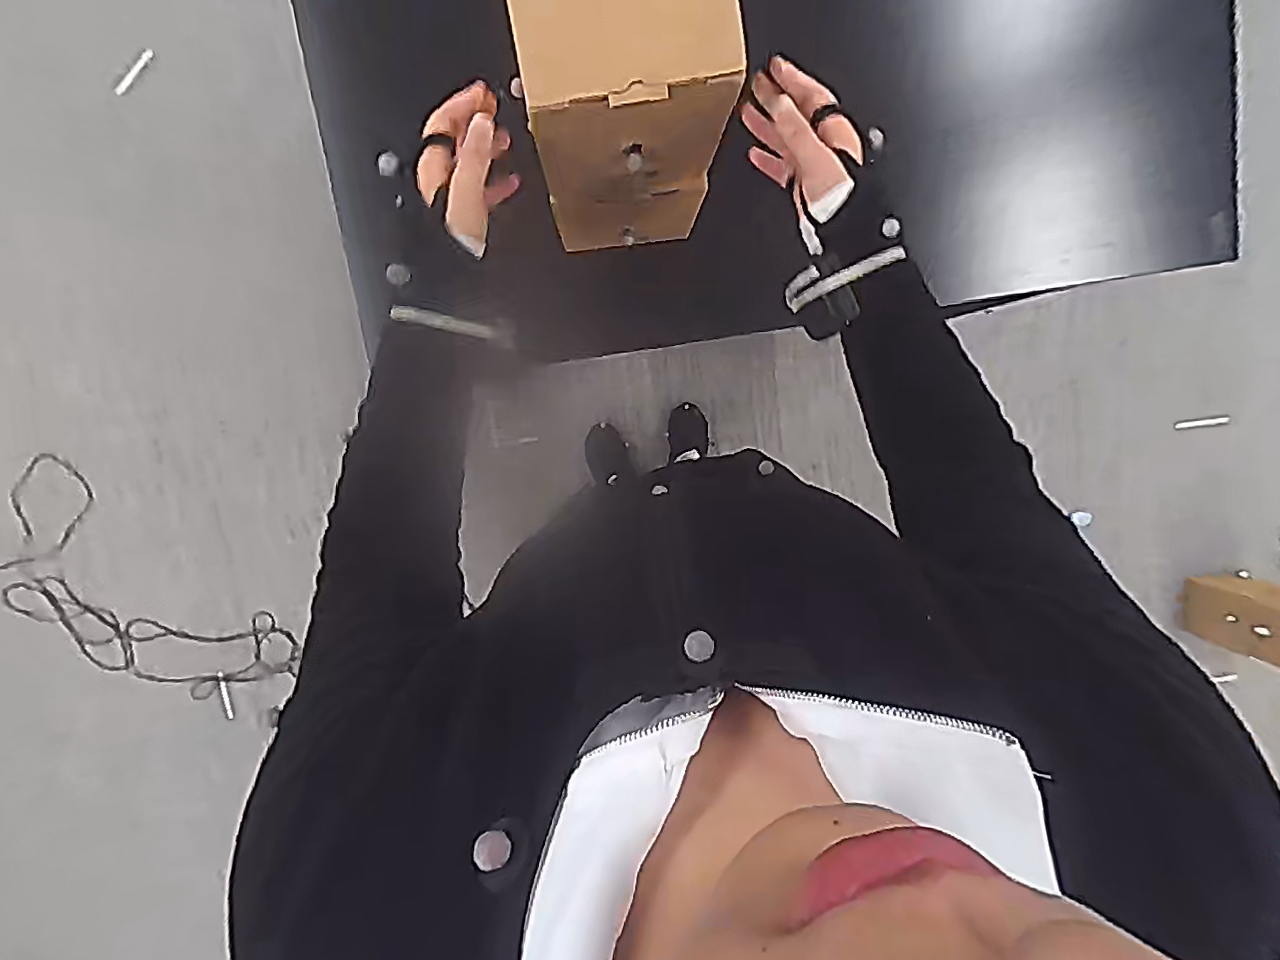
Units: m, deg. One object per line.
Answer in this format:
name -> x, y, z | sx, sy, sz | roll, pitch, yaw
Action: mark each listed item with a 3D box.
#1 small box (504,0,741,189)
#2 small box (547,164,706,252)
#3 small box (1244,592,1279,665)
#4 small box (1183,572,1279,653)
small box -> -0.021, -0.374, 0.465 | 0.168, 0.176, 0.179 | -11, 99, -1
small box -> -0.025, -0.386, 0.628 | 0.168, 0.176, 0.179 | -7, 98, -1
small box -> 1.728, 0.387, 1.387 | 0.179, 0.176, 0.168 | -10, 97, 0
small box -> 1.720, 0.371, 1.548 | 0.168, 0.176, 0.179 | -6, 99, -1
